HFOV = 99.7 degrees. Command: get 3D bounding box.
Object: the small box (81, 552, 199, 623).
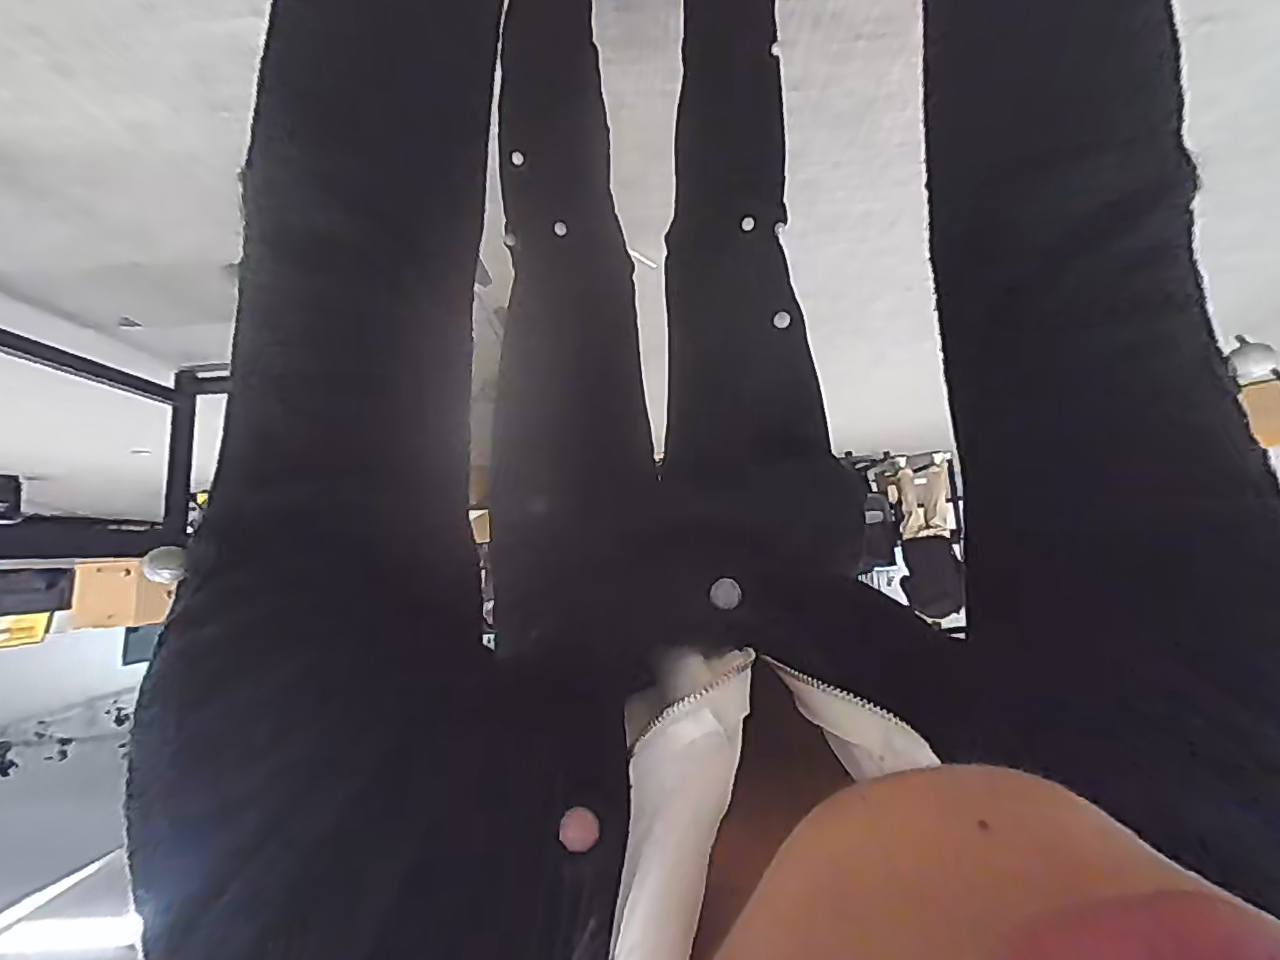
[{"bbox_3d":[-1.342,0.286,1.462,0.168,0.176,0.179,-2,174,0],"label":"small box"}]
